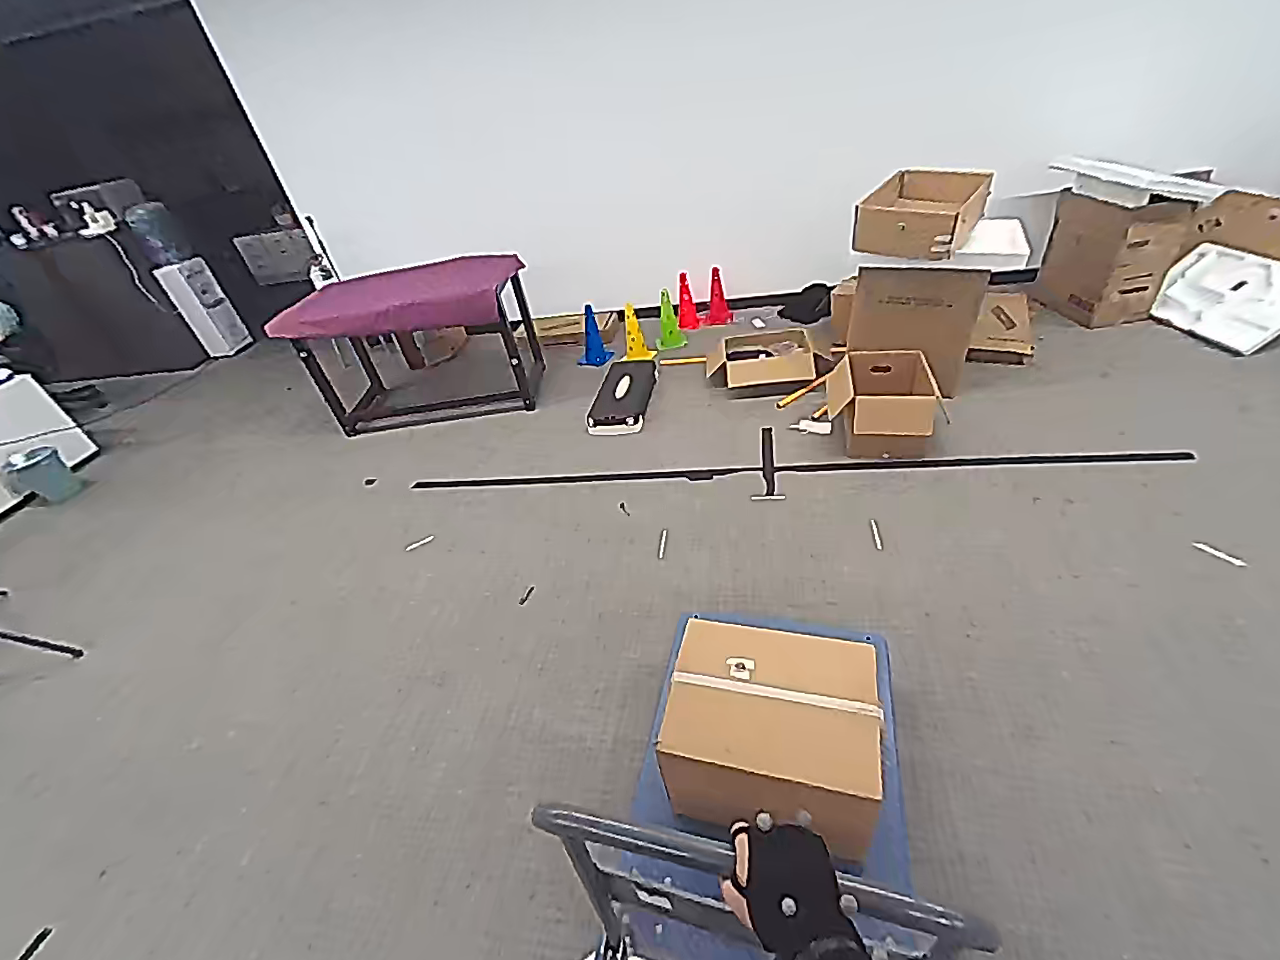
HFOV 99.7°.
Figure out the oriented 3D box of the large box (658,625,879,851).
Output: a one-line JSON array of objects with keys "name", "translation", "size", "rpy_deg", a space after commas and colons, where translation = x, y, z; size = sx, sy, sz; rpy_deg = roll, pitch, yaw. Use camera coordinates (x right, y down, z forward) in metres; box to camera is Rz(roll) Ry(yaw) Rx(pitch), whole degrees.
[{"name": "large box", "translation": [0.287, 0.555, 1.191], "size": [0.408, 0.320, 0.320], "rpy_deg": [2, 38, 18]}]
